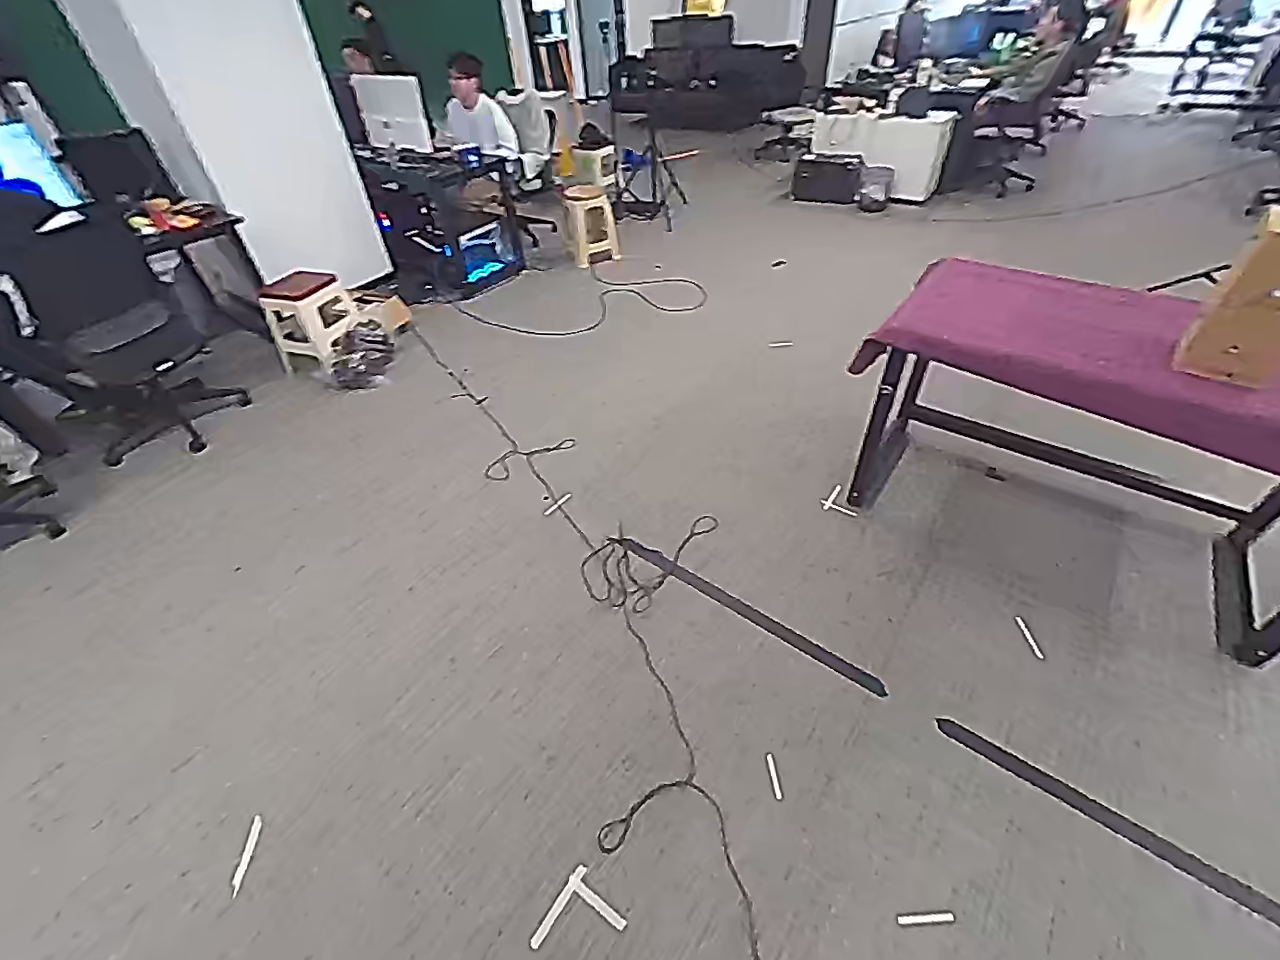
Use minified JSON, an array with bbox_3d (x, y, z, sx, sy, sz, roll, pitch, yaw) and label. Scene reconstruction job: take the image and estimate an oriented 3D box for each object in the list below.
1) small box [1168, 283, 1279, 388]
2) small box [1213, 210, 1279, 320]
[{"bbox_3d":[1.420,-0.345,1.295,0.168,0.176,0.179,28,51,30],"label":"small box"},{"bbox_3d":[1.416,-0.468,1.185,0.168,0.176,0.179,28,52,30],"label":"small box"}]
